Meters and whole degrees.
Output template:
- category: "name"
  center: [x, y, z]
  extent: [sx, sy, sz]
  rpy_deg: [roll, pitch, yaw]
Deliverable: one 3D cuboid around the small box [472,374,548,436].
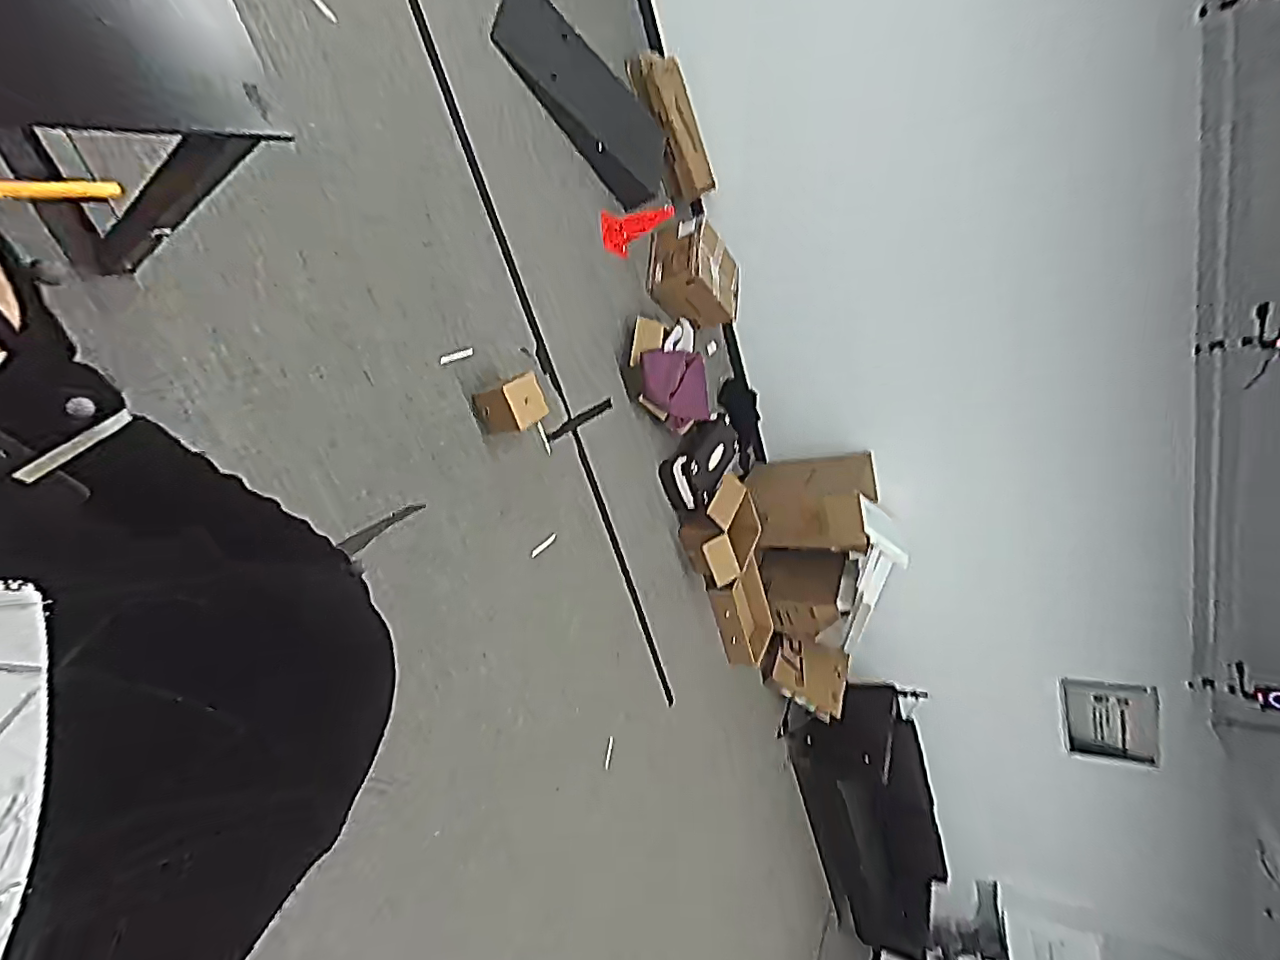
- category: "small box"
  center: [-0.479, -0.274, 1.989]
  extent: [0.179, 0.176, 0.168]
  rpy_deg: [-45, 121, -48]
